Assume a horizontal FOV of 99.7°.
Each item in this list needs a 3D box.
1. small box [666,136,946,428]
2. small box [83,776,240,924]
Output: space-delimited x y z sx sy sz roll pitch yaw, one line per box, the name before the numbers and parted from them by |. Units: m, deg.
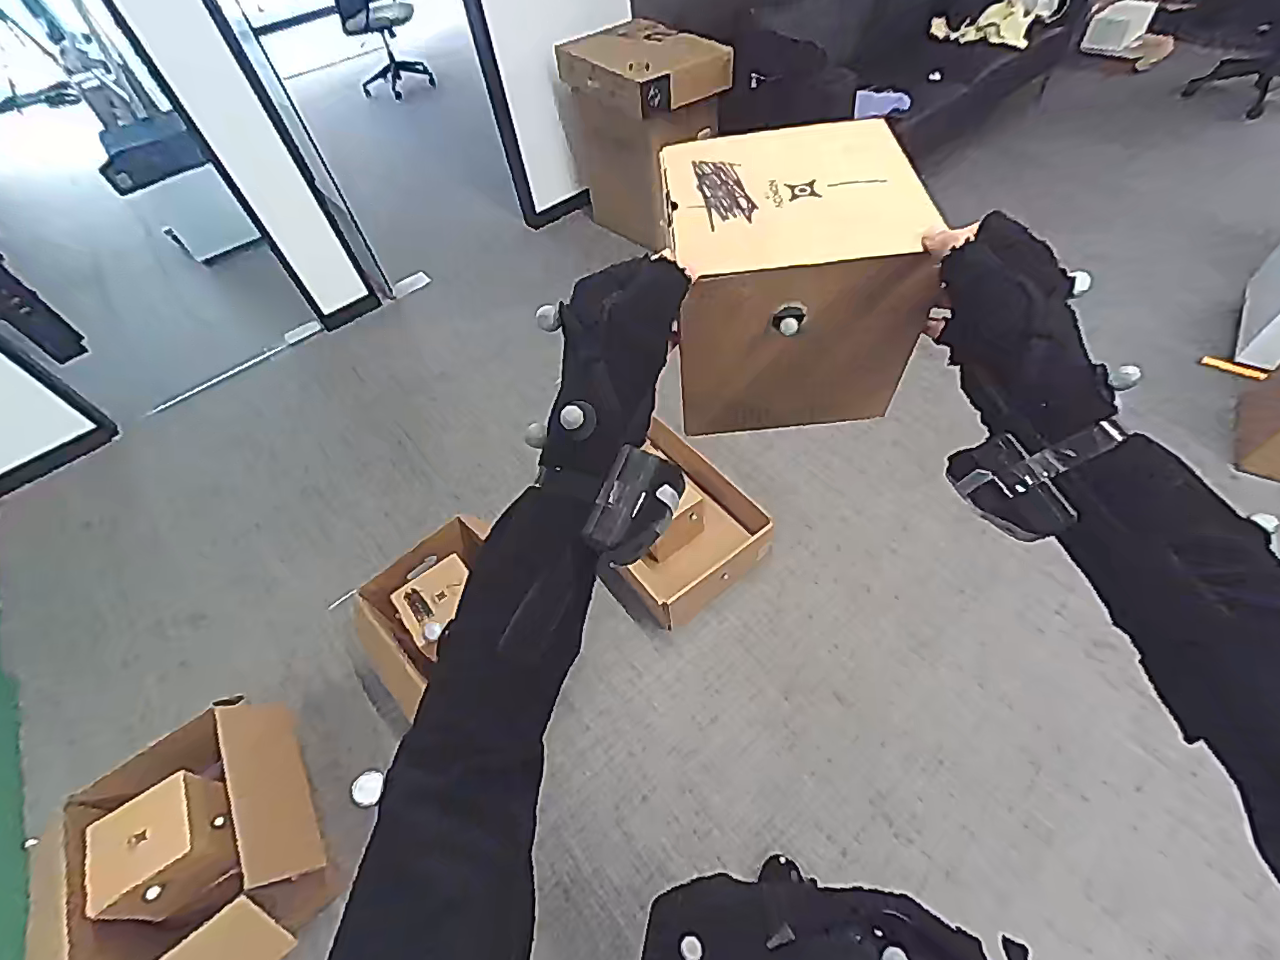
small box | 0.119 -0.159 0.464 0.179 0.176 0.168 -5 57 3
small box | -0.926 0.724 1.062 0.179 0.176 0.168 -31 54 -18
